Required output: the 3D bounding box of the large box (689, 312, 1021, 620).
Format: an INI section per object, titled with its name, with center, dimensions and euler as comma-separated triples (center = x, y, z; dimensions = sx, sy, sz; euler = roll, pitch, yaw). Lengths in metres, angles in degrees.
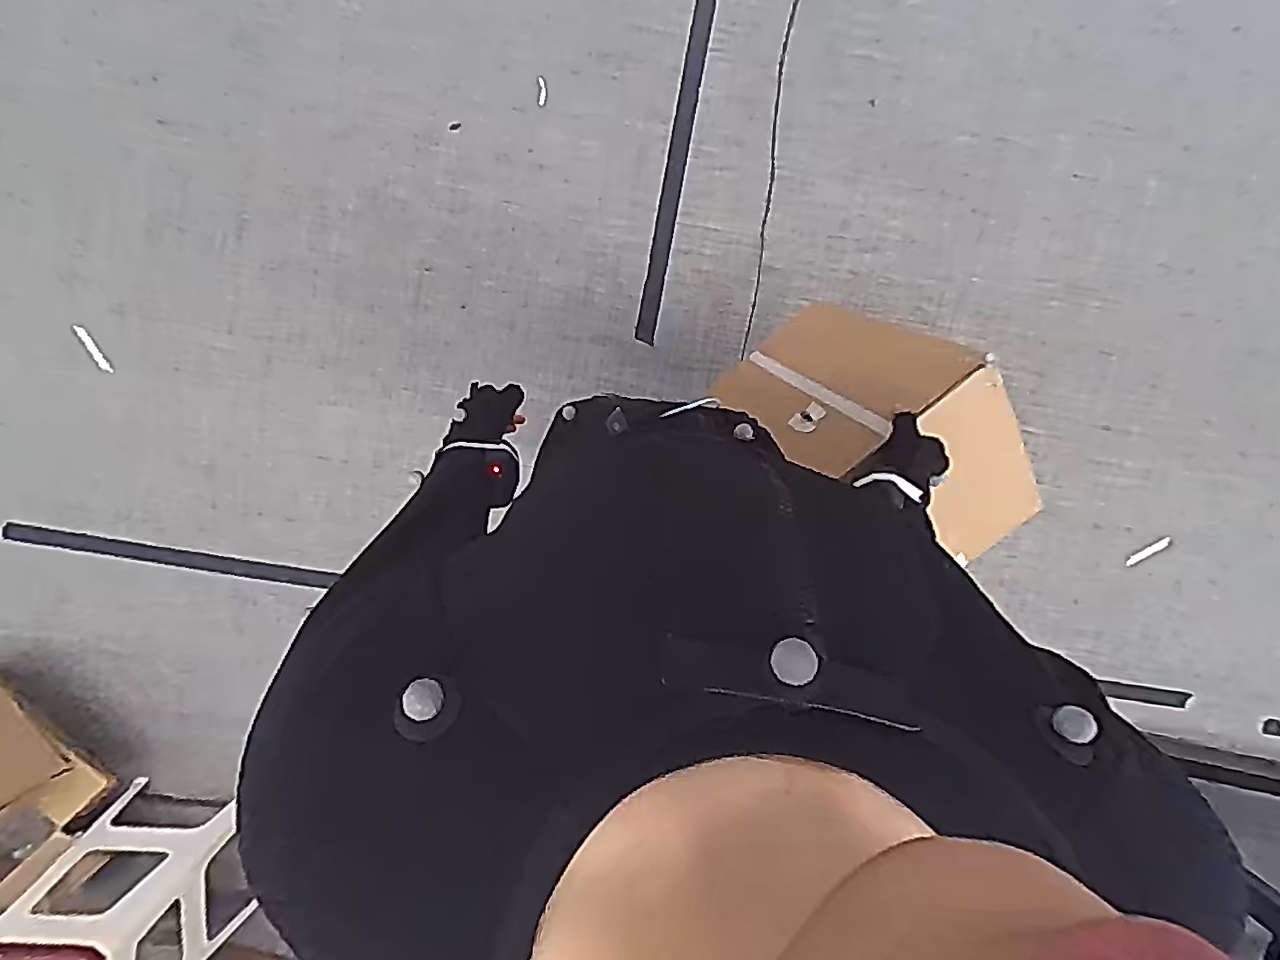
[large box]
center = 0.351, -0.044, 0.950
dimensions = 0.320, 0.408, 0.320
euler = -39, 122, 5
